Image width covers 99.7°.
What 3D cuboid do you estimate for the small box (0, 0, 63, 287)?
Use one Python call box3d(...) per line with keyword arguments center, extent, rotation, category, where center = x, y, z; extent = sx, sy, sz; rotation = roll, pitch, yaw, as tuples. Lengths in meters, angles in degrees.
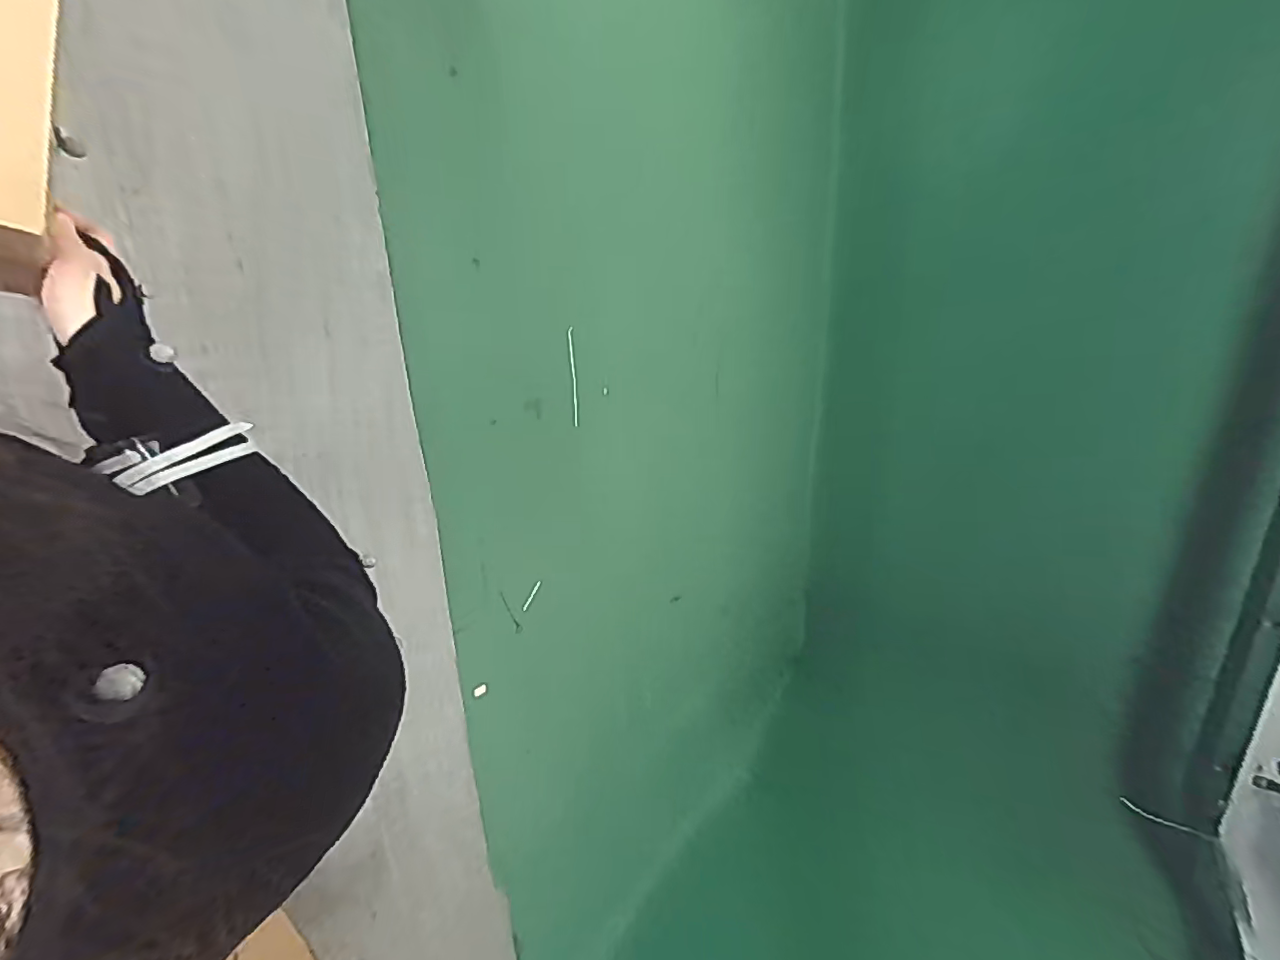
box3d(center=(-0.475, -0.237, 0.325), extent=(0.168, 0.176, 0.179), rotation=(4, 87, -47), category="small box")
